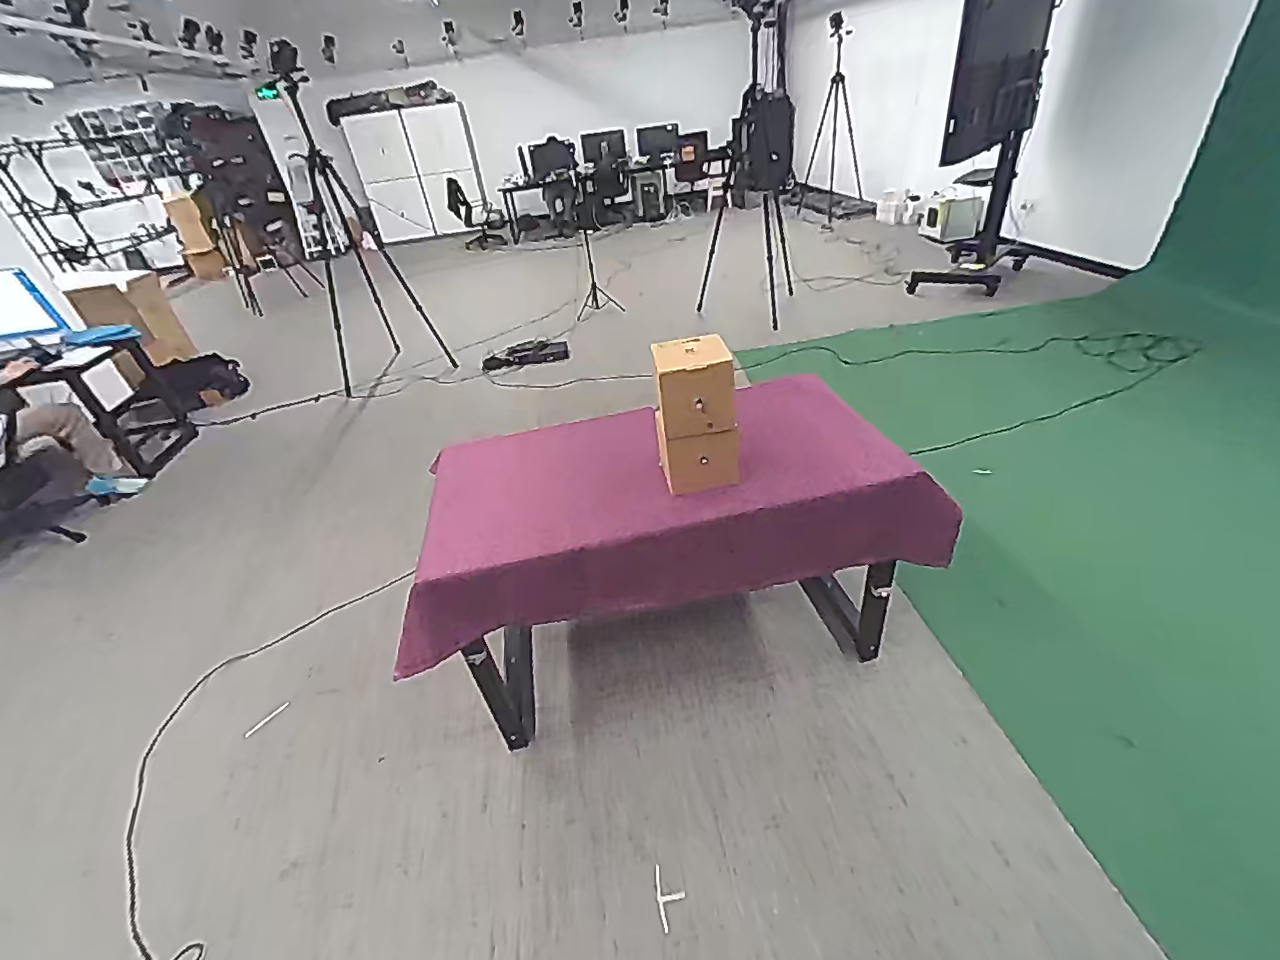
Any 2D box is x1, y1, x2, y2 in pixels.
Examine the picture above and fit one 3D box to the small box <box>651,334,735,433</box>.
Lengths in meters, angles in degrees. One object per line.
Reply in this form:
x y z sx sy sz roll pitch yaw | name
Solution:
0.123 -0.219 1.258 0.168 0.176 0.179 -8 35 0 | small box
